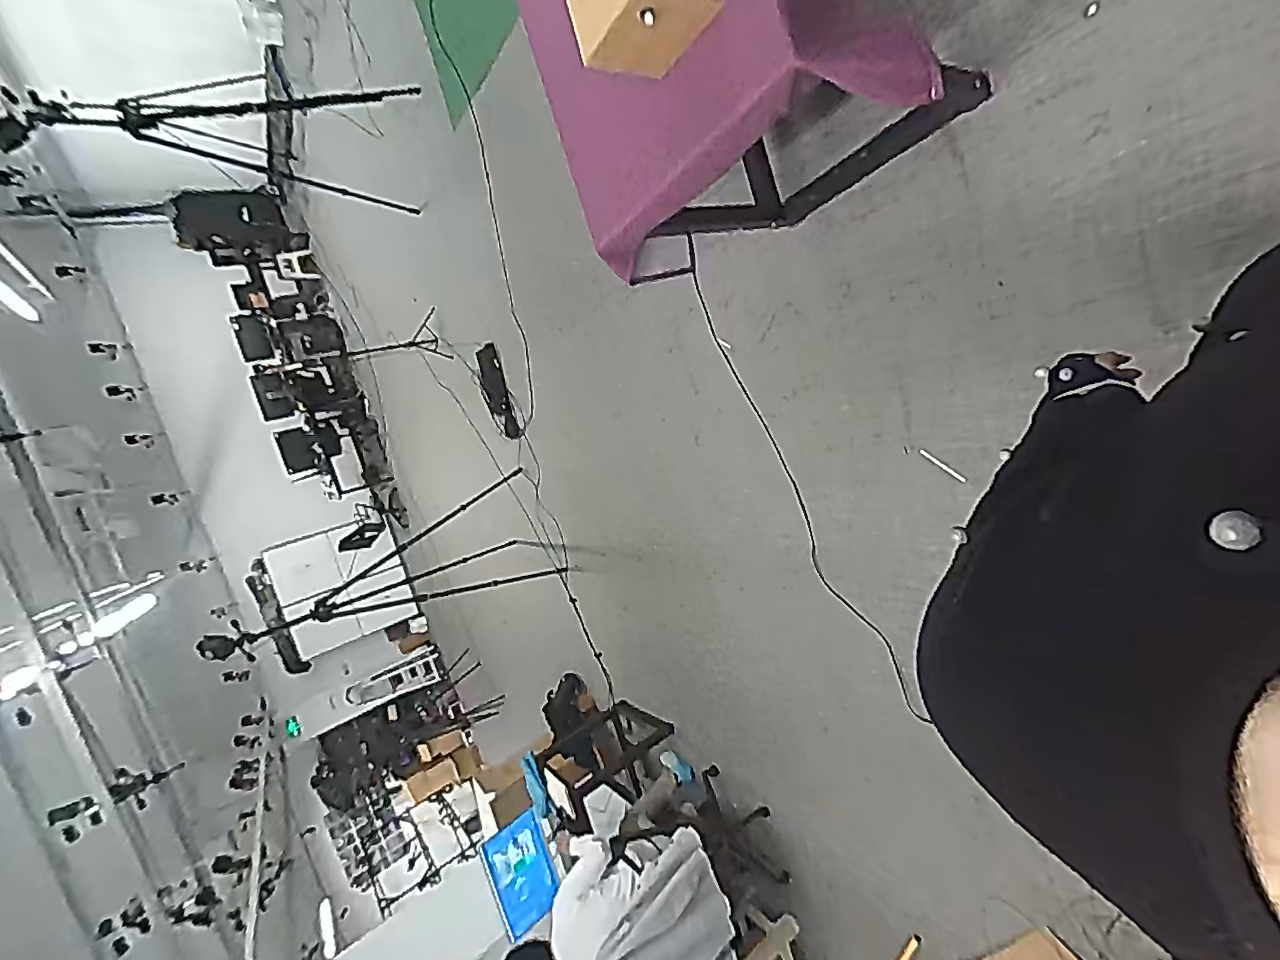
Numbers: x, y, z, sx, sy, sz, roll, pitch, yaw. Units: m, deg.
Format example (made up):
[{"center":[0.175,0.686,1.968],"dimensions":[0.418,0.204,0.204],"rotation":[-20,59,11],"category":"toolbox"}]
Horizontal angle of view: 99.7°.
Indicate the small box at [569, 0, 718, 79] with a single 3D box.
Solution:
[{"center":[0.005,-0.781,0.858],"dimensions":[0.179,0.176,0.168],"rotation":[-6,102,56],"category":"small box"}]
